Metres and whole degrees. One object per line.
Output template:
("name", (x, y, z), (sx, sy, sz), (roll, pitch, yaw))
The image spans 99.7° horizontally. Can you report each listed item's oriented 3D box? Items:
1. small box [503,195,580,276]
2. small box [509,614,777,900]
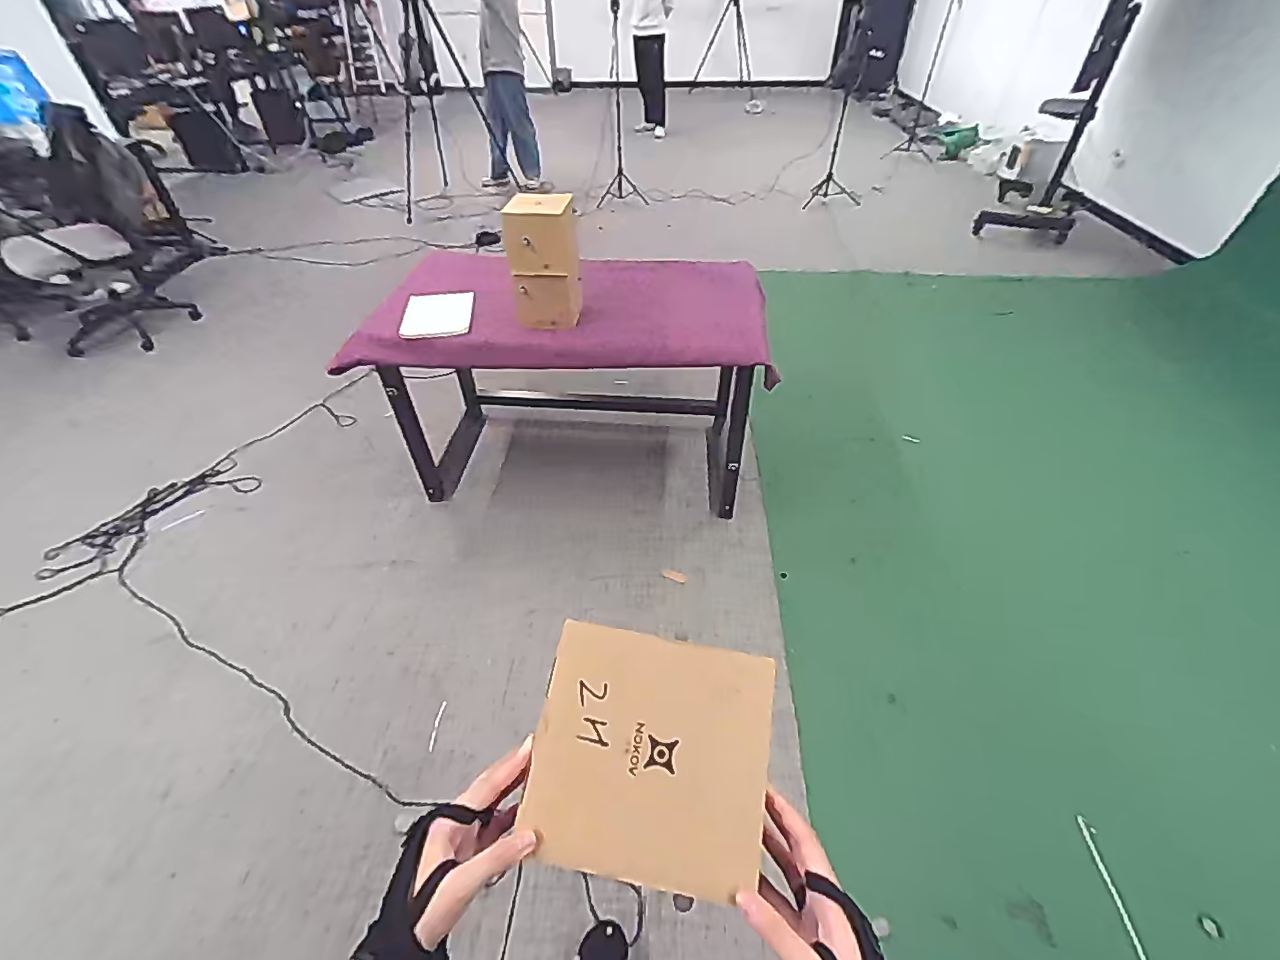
("small box", (-0.266, -0.682, 1.512), (0.168, 0.176, 0.179), (3, 42, 4))
("small box", (0.009, 0.230, 0.477), (0.179, 0.176, 0.168), (10, 65, 6))
